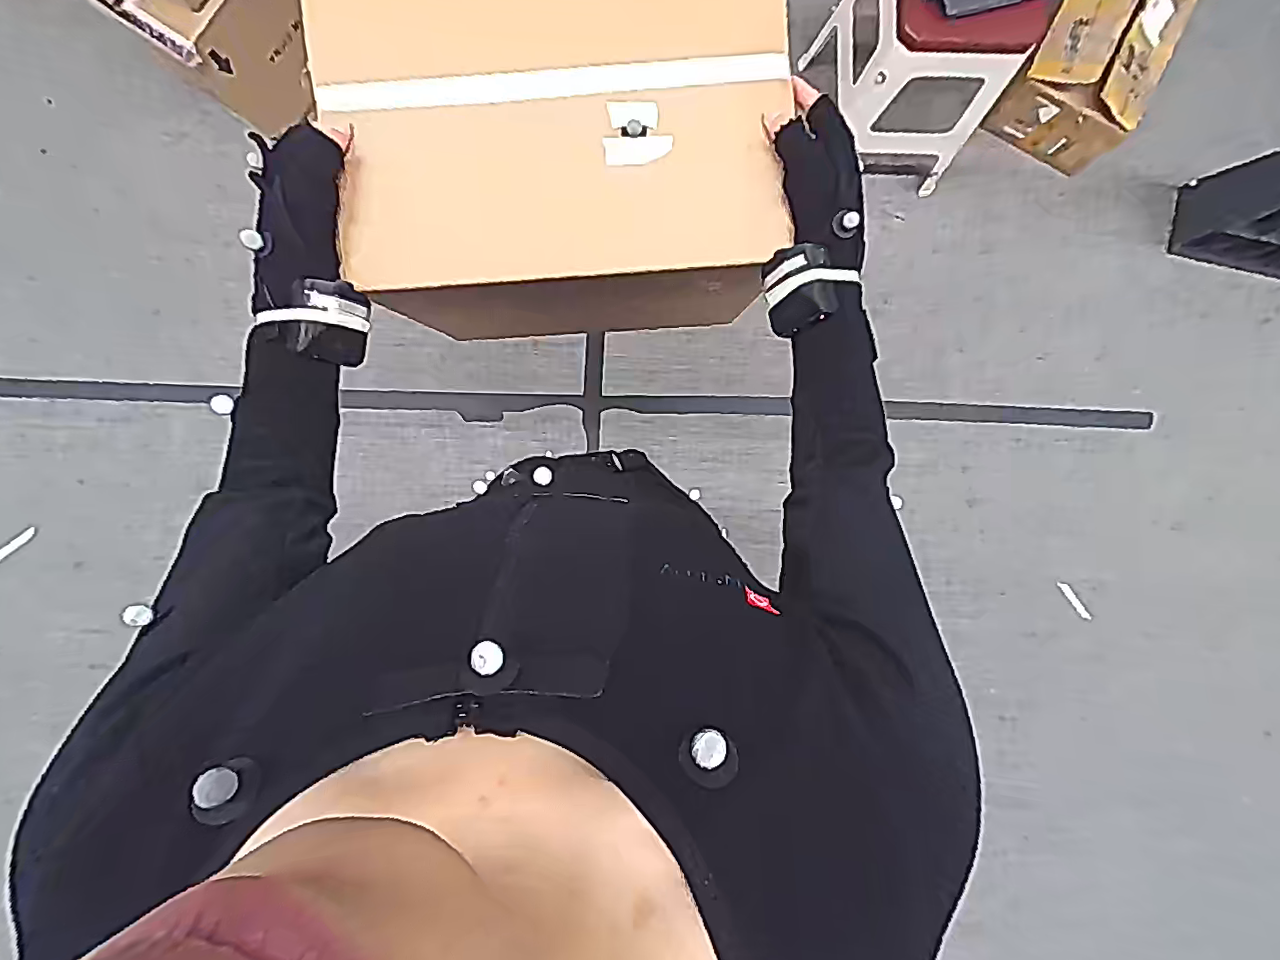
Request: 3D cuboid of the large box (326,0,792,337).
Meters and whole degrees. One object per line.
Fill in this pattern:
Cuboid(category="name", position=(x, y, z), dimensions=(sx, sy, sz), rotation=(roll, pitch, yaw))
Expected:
Cuboid(category="large box", position=(-0.074, -0.361, 0.631), dimensions=(0.408, 0.320, 0.320), rotation=(-5, 97, -1))
